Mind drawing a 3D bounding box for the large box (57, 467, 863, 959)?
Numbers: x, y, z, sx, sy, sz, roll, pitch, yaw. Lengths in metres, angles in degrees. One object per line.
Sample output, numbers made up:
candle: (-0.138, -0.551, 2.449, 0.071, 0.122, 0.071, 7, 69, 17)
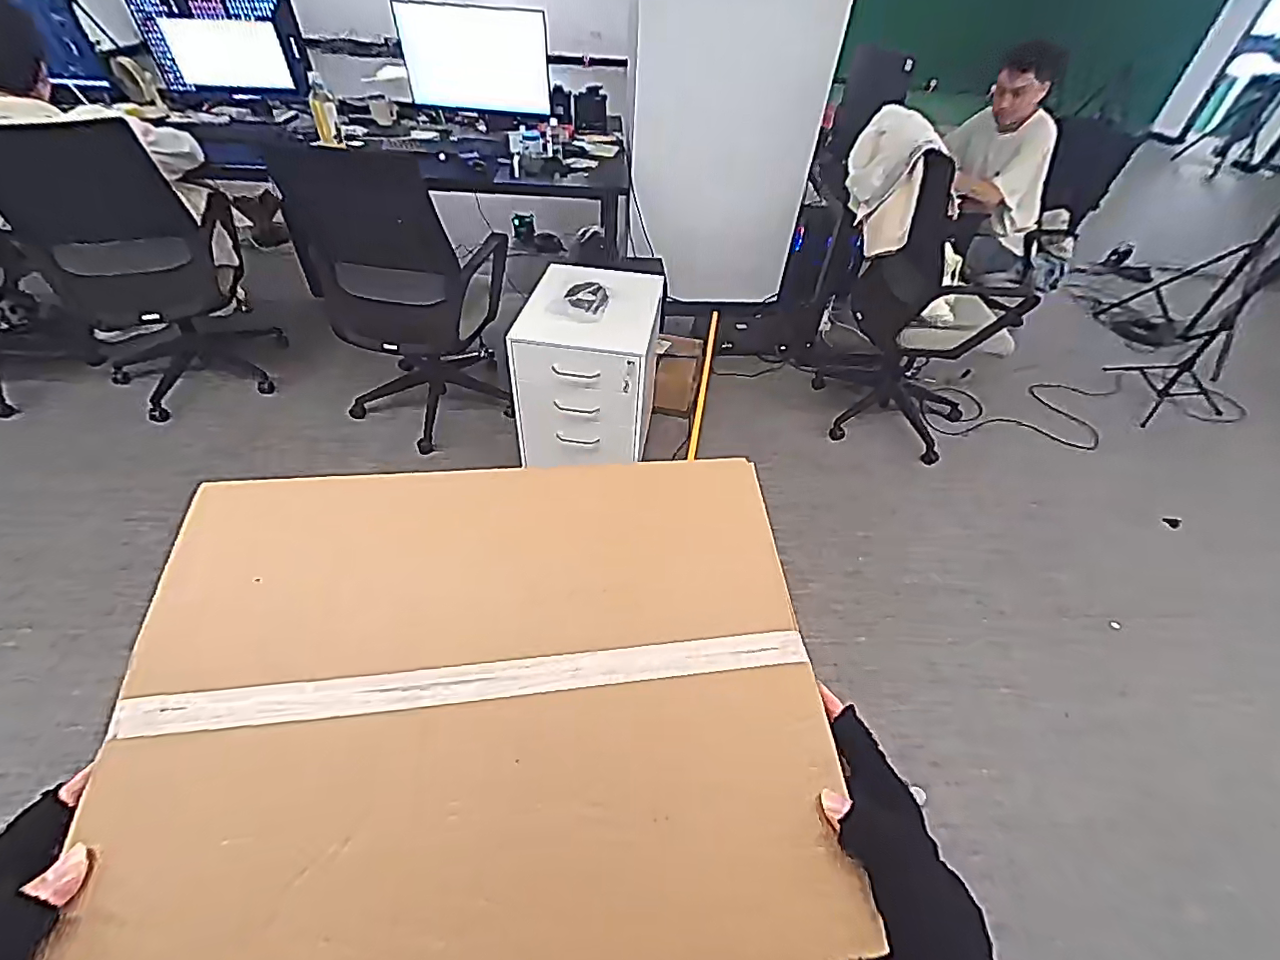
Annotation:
large box: (-0.104, 0.210, 0.462, 0.408, 0.320, 0.320, -3, 57, -8)
